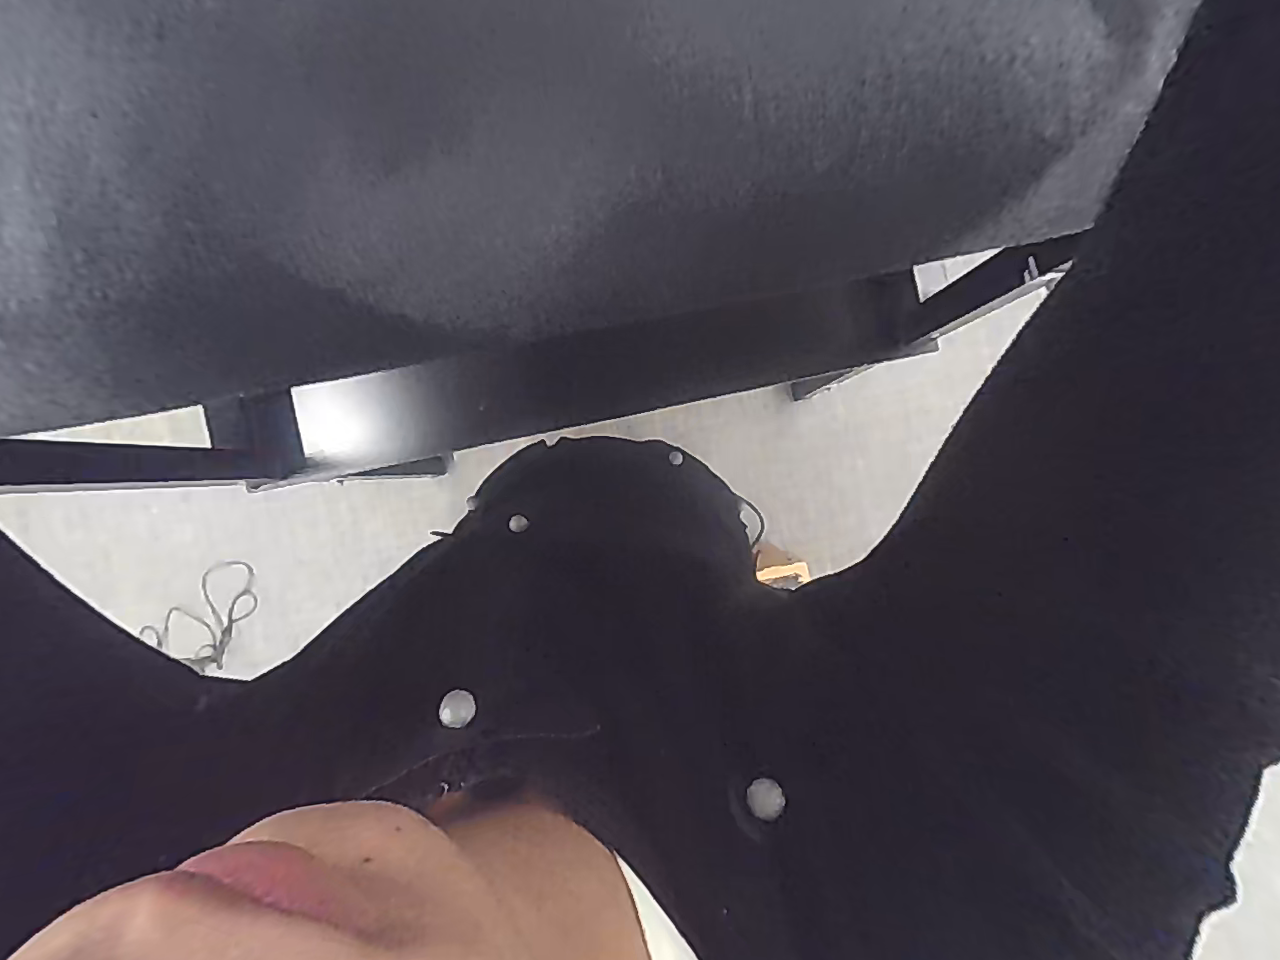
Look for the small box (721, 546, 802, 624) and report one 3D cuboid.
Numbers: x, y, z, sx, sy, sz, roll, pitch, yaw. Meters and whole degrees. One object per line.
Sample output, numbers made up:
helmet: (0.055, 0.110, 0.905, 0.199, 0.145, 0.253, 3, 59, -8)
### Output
small box: (0.343, 0.294, 1.554, 0.179, 0.176, 0.168, -14, 90, 3)
